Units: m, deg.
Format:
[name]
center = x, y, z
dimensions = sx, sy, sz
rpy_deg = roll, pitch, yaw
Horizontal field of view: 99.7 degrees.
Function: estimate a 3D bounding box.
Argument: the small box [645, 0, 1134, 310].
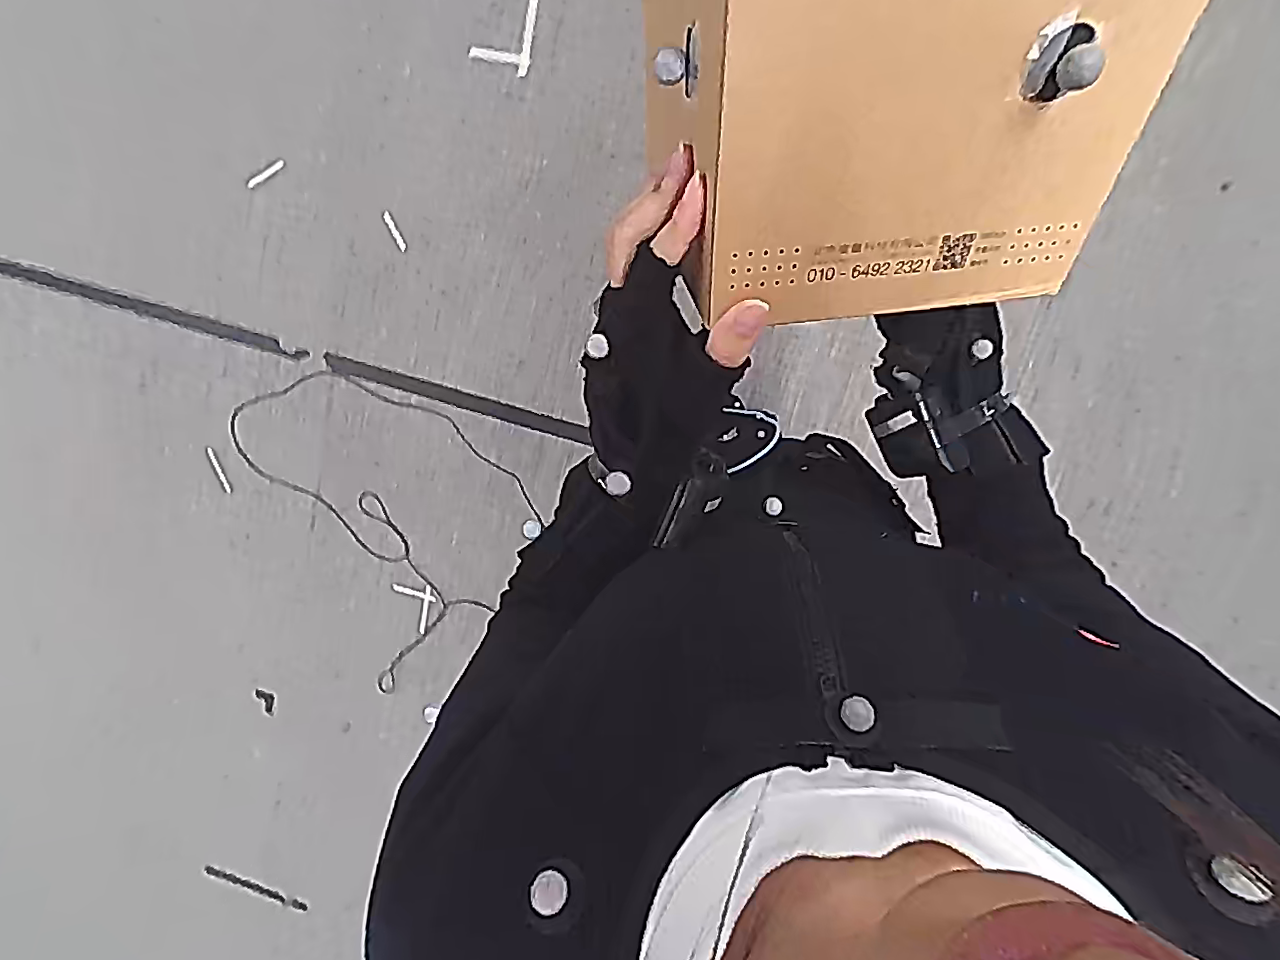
[small box]
center = 0.096, -0.195, 0.268
dimensions = 0.168, 0.179, 0.176
rpy_deg = -7, 133, -5
